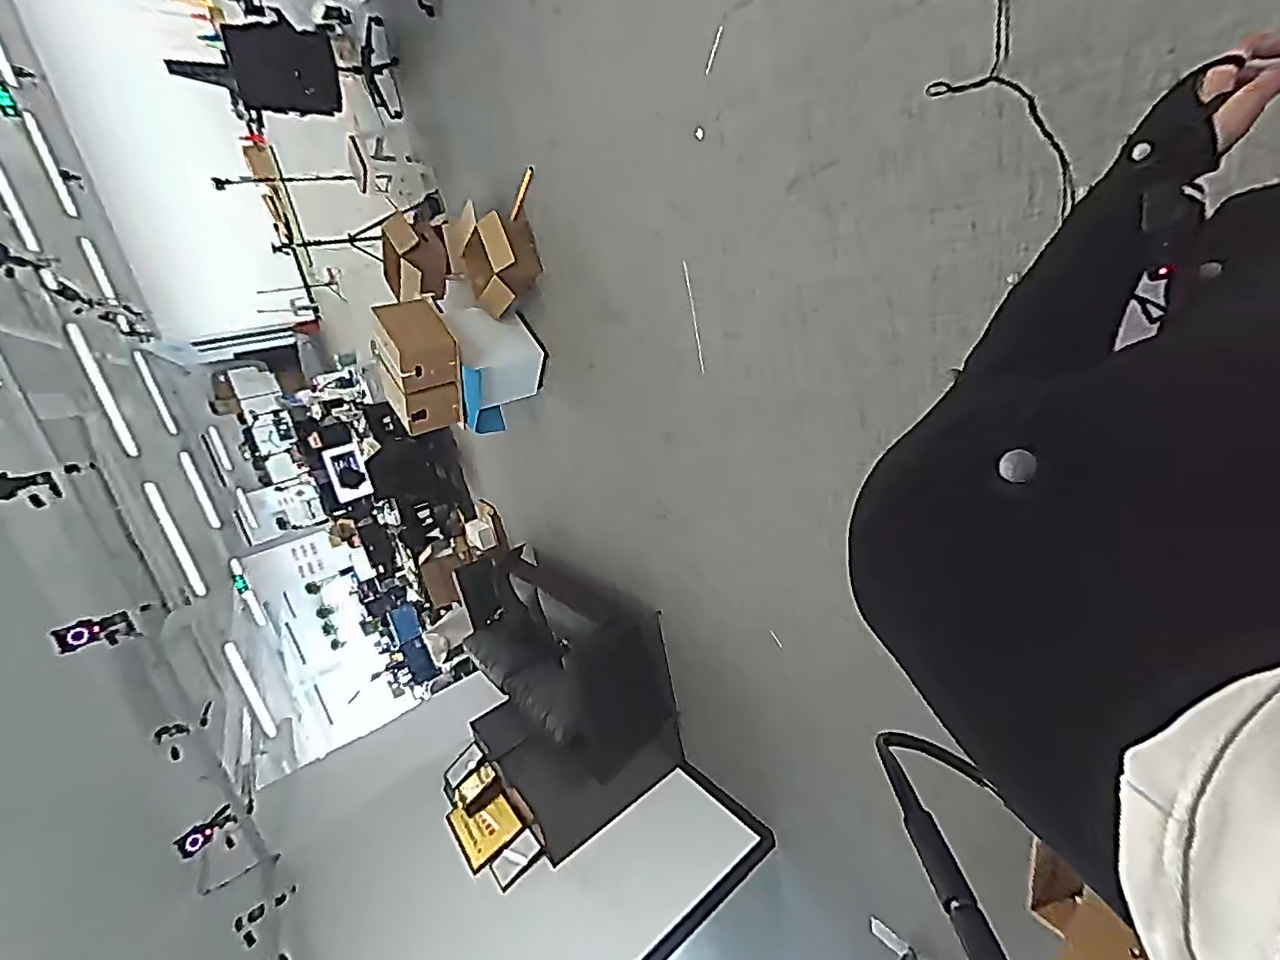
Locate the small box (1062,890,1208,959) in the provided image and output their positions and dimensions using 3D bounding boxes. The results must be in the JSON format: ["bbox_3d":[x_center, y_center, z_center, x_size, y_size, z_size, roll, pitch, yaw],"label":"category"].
[{"bbox_3d":[0.954,0.954,1.052,0.179,0.176,0.168,13,120,51],"label":"small box"}]

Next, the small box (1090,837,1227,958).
[{"bbox_3d":[1.083,0.903,1.140,0.179,0.176,0.168,16,122,51],"label":"small box"}]
